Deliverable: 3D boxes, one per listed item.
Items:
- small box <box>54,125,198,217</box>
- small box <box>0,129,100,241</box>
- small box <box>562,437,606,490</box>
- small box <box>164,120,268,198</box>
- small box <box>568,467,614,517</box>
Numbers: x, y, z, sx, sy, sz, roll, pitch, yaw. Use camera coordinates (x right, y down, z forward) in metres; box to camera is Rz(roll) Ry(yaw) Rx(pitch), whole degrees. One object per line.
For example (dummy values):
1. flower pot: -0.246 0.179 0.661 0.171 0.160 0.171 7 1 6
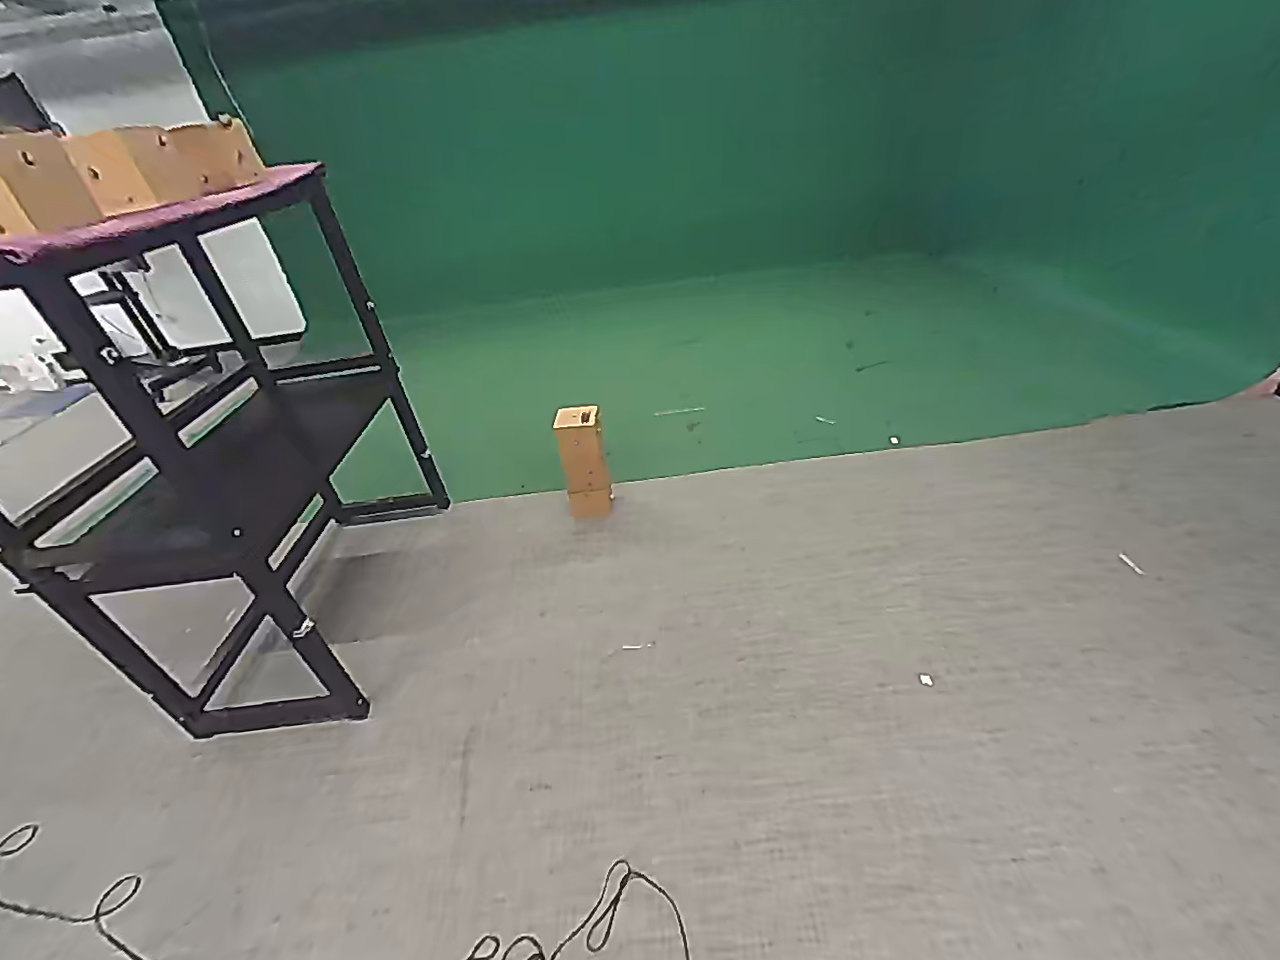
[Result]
1. small box: -1.262 -0.763 1.341 0.168 0.176 0.179 -9 34 2
2. small box: -1.223 -0.562 1.041 0.168 0.176 0.179 -7 34 0
3. small box: -0.245 -0.068 2.403 0.168 0.176 0.179 -5 35 3
4. small box: -1.284 -0.972 1.636 0.179 0.176 0.168 -5 37 8
5. small box: -0.224 0.058 2.502 0.179 0.176 0.168 -5 36 4
